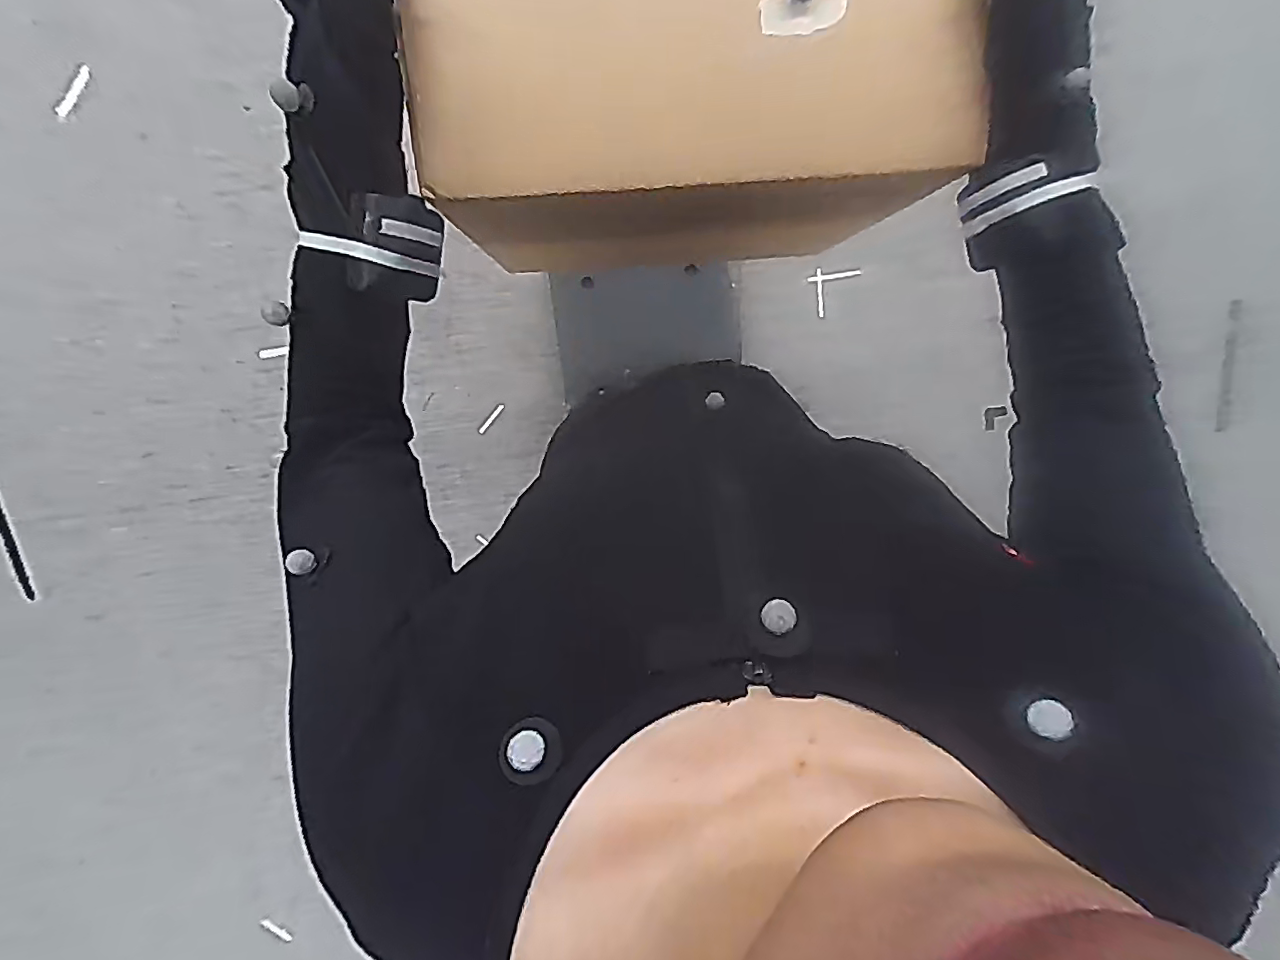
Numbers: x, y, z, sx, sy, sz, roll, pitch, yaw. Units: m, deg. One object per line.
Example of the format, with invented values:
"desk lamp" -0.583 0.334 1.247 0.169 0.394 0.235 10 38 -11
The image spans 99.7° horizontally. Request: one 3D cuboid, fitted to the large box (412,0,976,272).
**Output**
"large box" 0.028 -0.400 0.514 0.408 0.320 0.320 -5 102 -3
